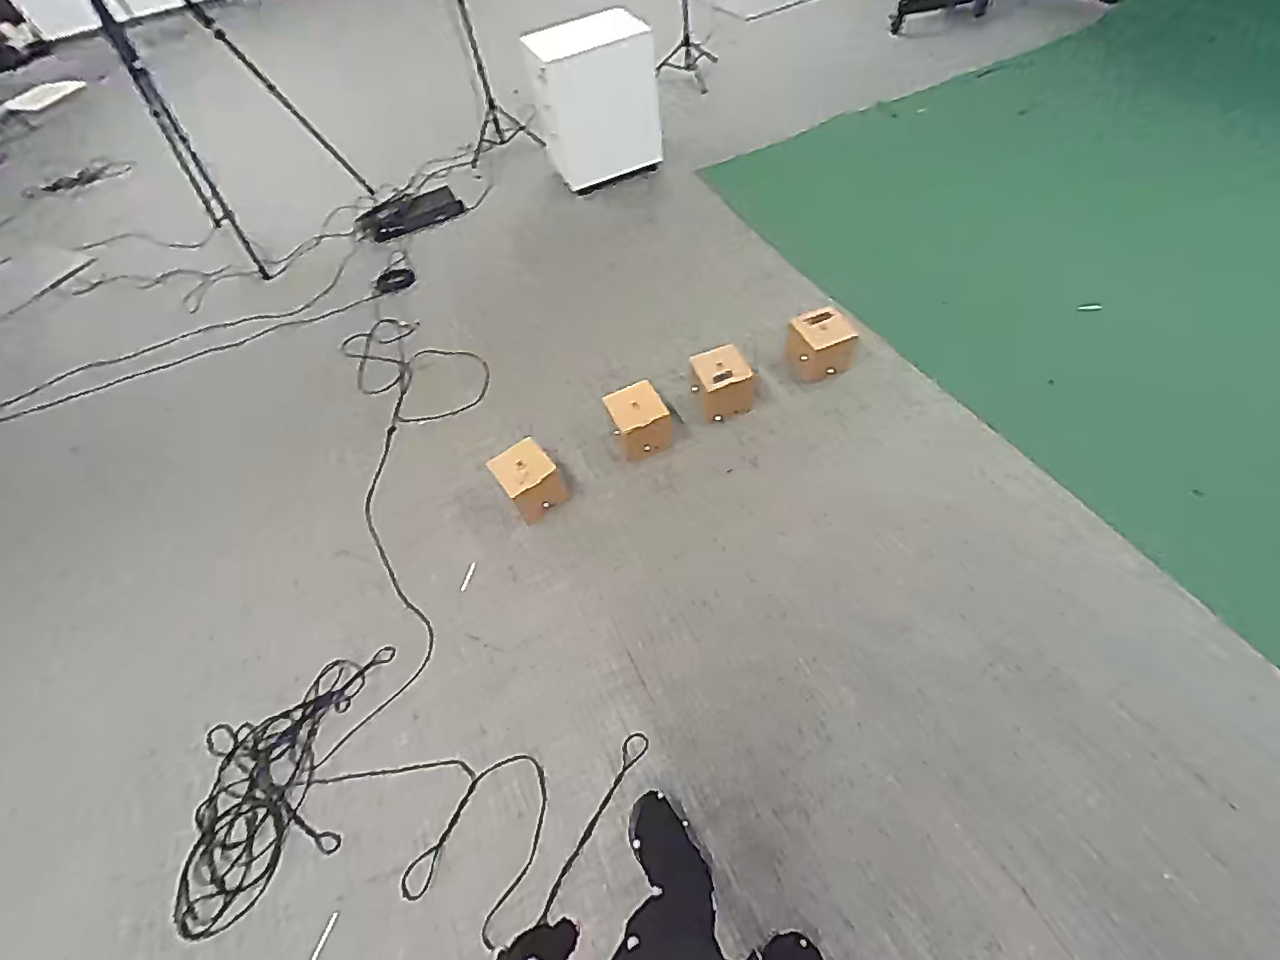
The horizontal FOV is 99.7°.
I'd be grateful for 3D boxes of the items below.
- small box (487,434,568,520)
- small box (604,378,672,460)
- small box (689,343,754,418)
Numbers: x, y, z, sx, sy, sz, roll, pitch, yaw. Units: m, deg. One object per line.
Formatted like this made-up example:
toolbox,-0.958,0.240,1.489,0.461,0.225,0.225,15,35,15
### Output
small box,-0.352,-0.006,1.716,0.168,0.176,0.179,-35,58,-14
small box,-0.005,-0.200,1.800,0.168,0.176,0.179,-24,57,-9
small box,0.276,-0.332,1.850,0.168,0.176,0.179,-19,55,-6
